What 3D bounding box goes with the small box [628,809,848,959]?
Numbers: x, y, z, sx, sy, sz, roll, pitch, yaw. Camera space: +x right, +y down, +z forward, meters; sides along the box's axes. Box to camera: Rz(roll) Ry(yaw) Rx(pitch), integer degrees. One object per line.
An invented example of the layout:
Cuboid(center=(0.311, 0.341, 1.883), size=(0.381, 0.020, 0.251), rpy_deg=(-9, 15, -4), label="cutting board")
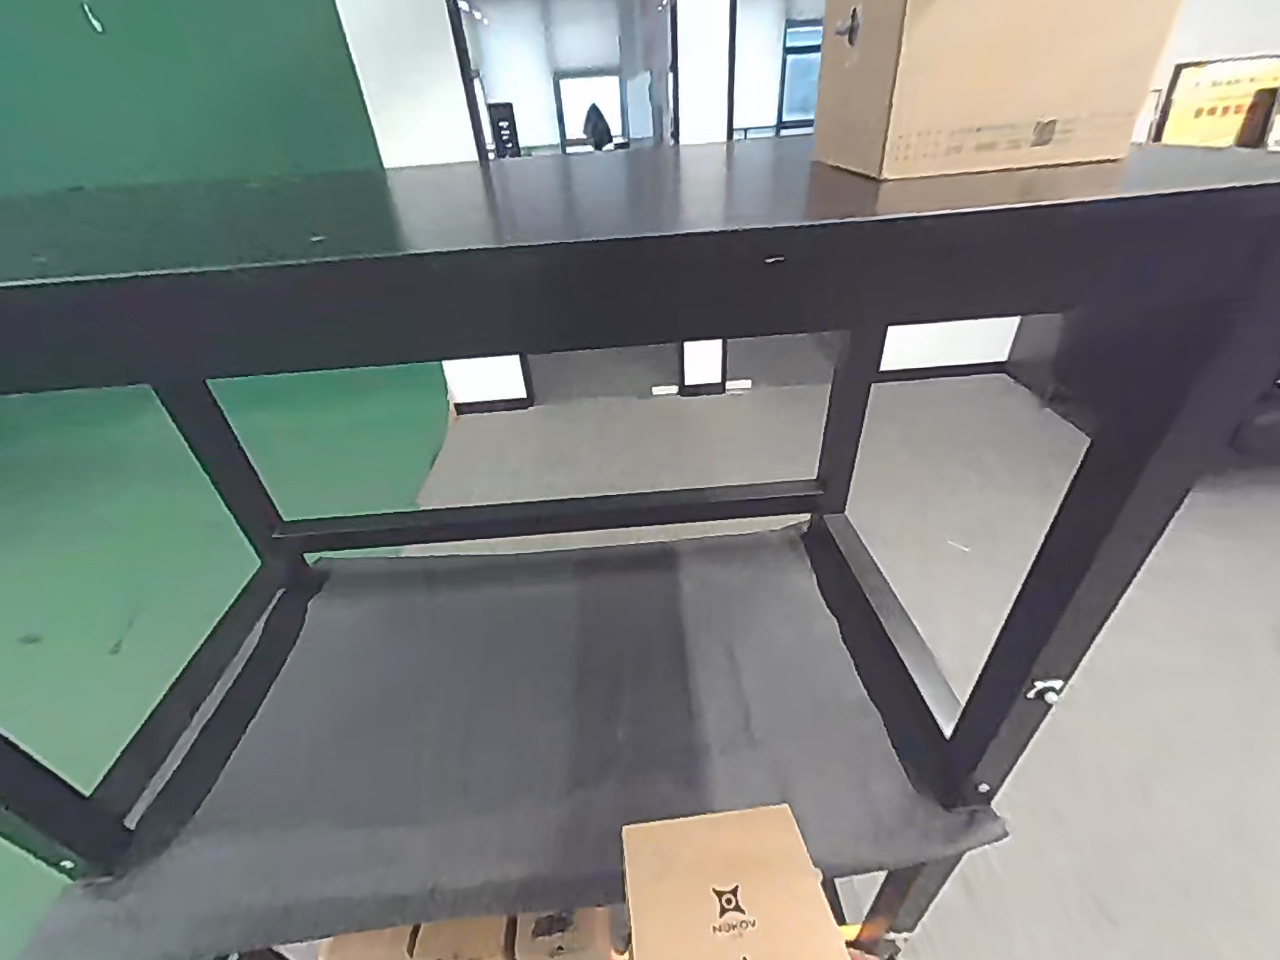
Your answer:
Cuboid(center=(0.078, 0.436, 0.476), size=(0.168, 0.176, 0.179), rpy_deg=(-5, 21, -5), label="small box")
